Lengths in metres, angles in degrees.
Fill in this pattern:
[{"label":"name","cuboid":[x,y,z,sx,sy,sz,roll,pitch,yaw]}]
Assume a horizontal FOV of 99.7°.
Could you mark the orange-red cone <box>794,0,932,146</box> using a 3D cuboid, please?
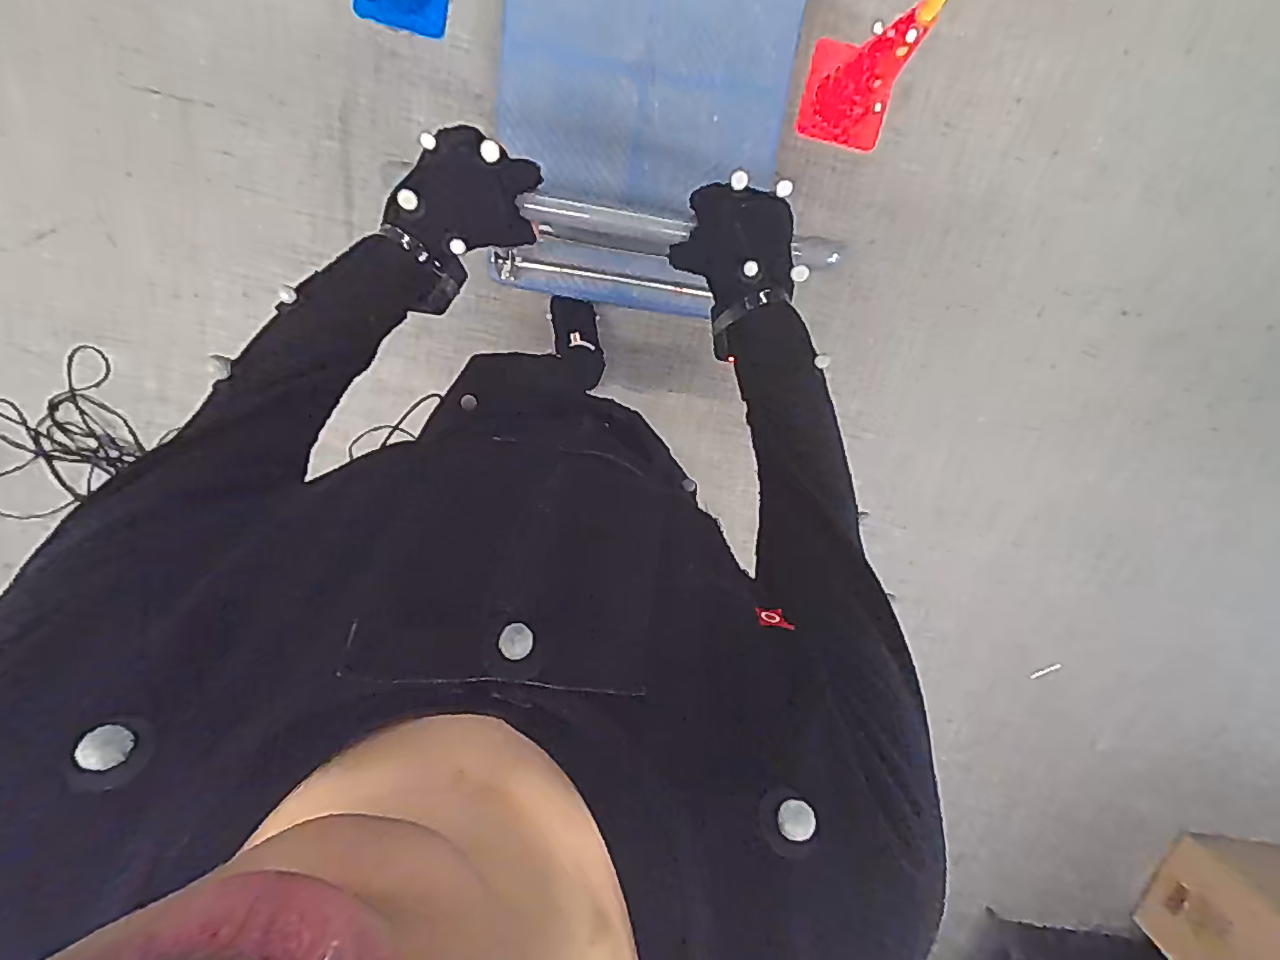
[{"label":"orange-red cone","cuboid":[0.475,-0.857,1.090,0.199,0.360,0.198,12,105,-4]}]
